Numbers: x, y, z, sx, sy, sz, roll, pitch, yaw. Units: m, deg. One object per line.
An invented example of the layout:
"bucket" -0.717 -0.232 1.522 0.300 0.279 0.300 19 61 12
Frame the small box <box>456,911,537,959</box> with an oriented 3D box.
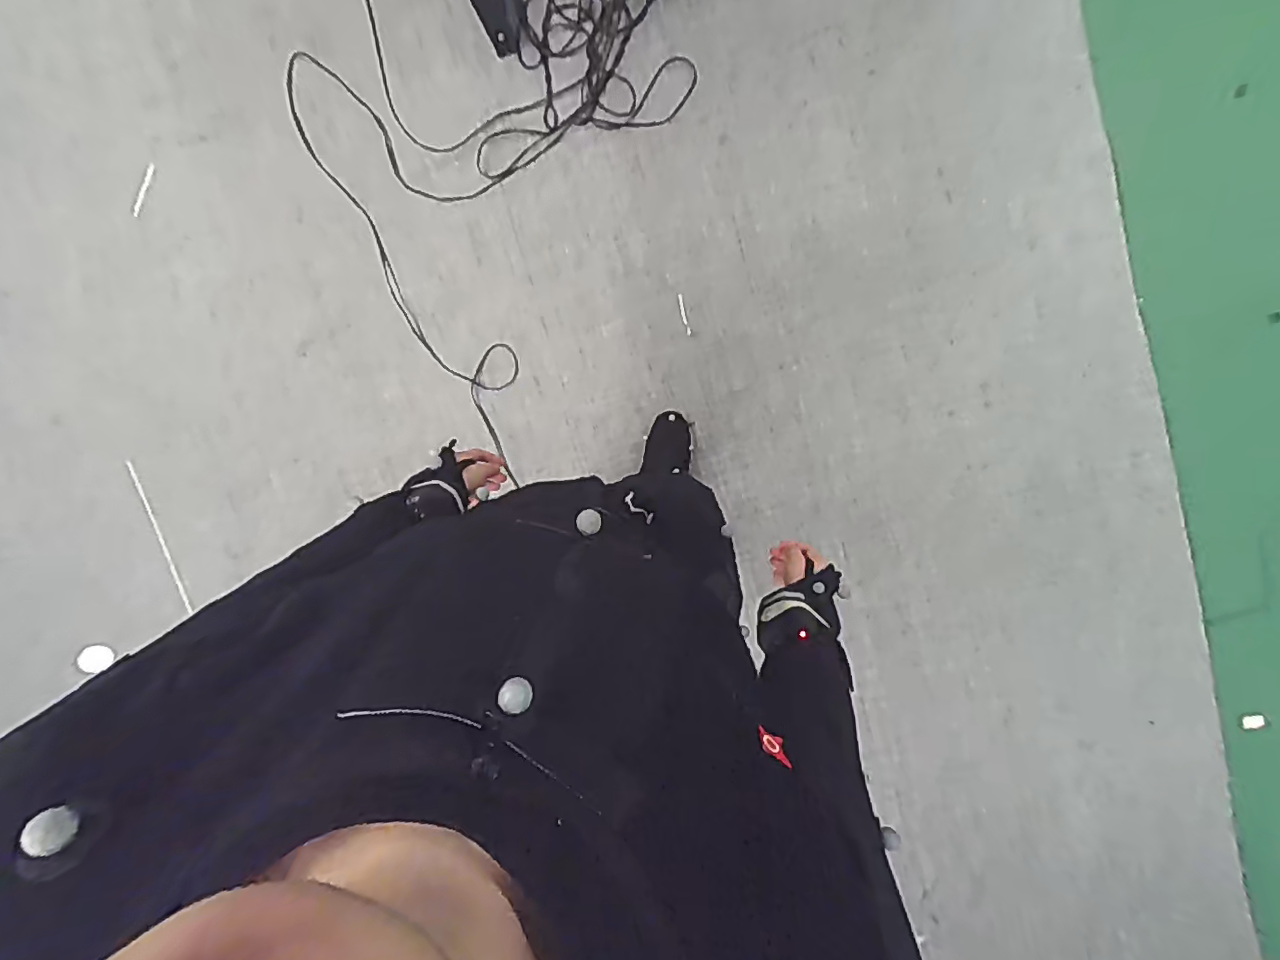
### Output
"small box" -0.391 1.312 1.464 0.168 0.176 0.179 -9 97 6
